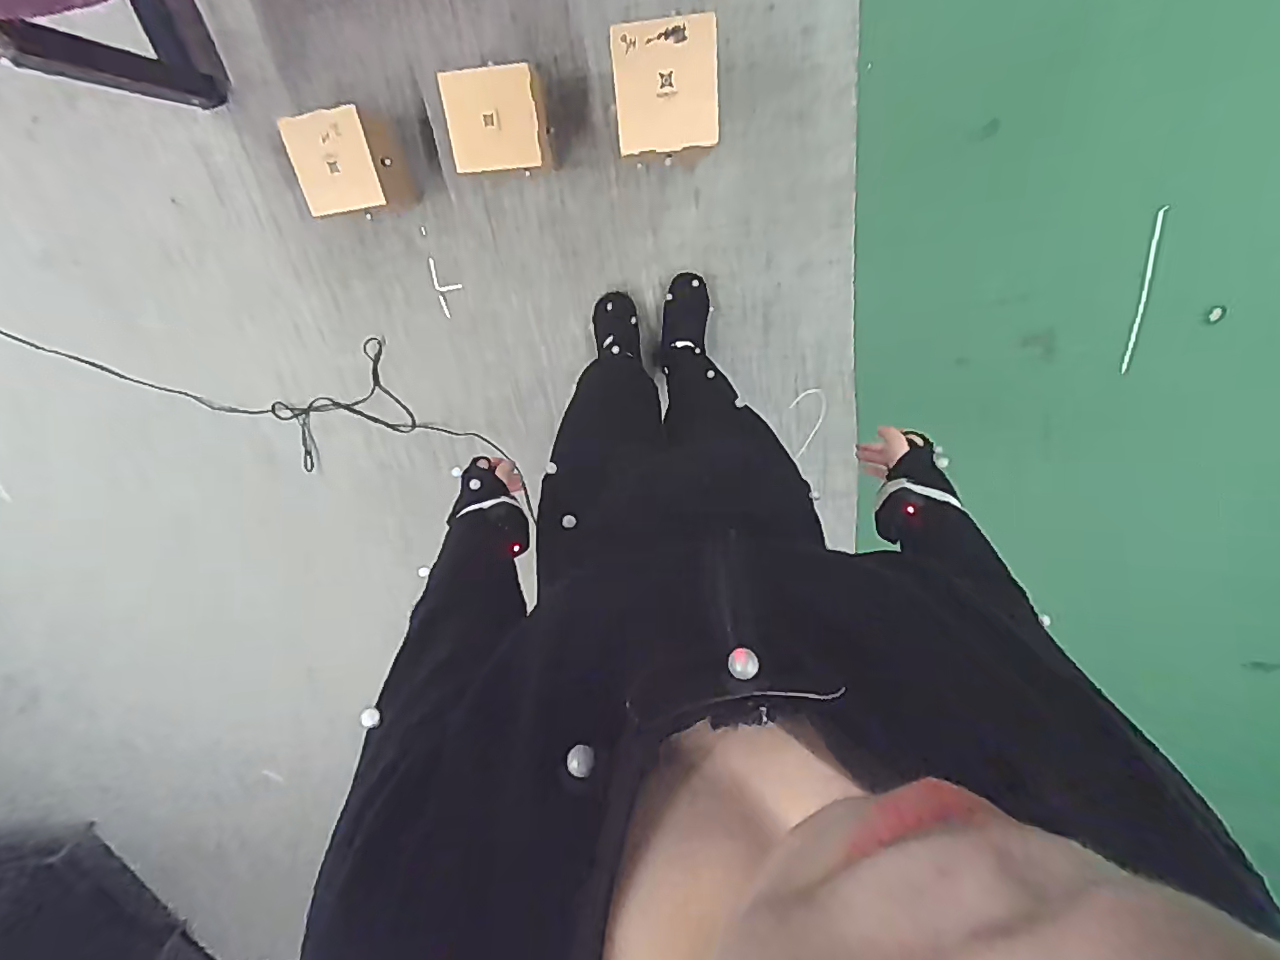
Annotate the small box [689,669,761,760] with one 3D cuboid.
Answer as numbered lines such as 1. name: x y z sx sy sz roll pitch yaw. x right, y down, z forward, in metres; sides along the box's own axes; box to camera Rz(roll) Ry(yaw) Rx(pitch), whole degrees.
1. small box: 0.243 0.676 1.577 0.168 0.176 0.179 -16 115 11

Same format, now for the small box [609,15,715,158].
1. small box: 0.042 -0.662 0.933 0.168 0.176 0.179 -3 117 4
